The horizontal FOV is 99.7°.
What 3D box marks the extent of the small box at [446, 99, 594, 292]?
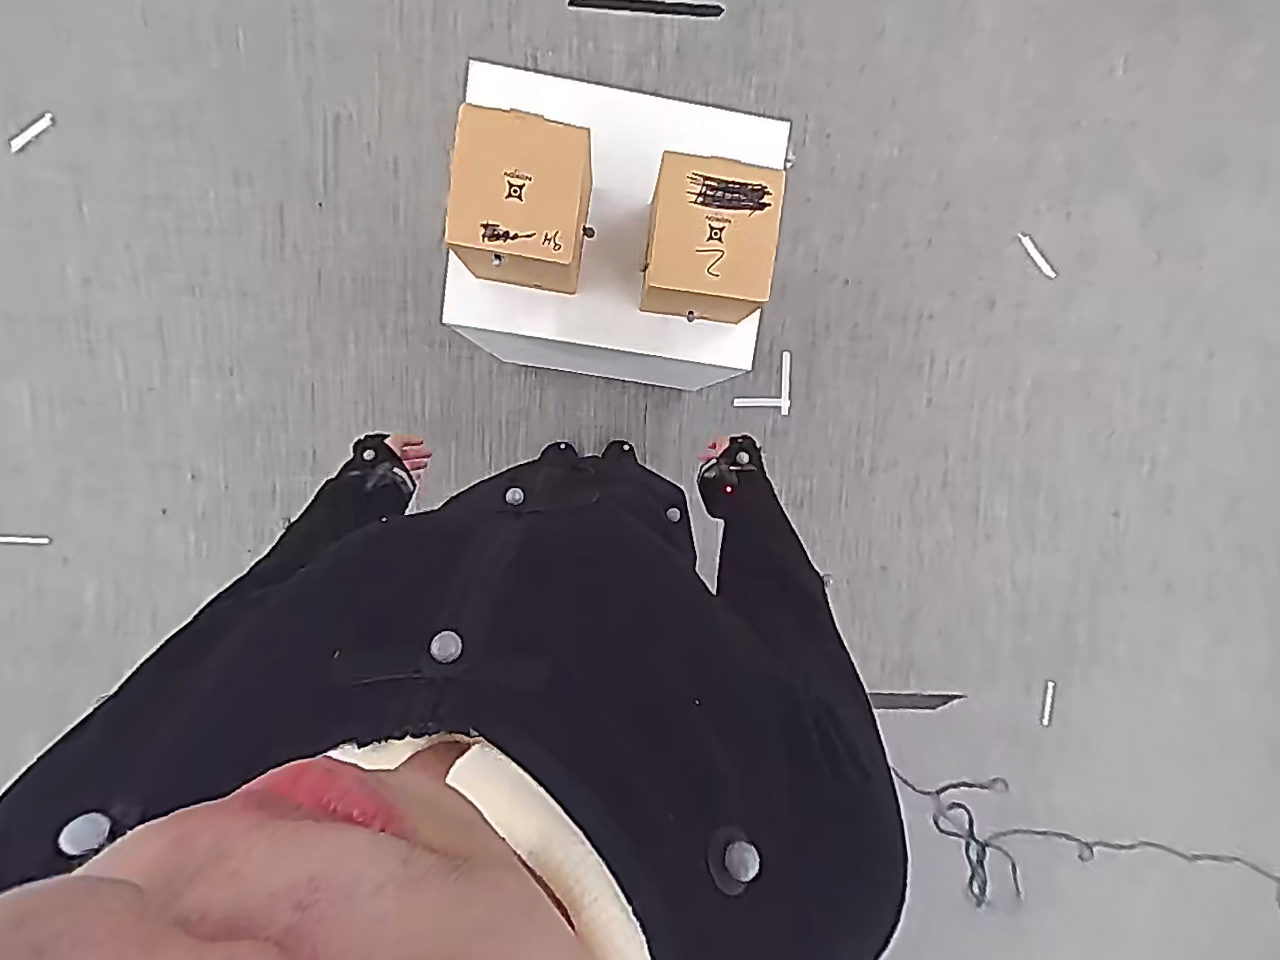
[{"bbox_3d":[-0.160,-0.387,0.768,0.168,0.176,0.179,8,95,-5],"label":"small box"}]
